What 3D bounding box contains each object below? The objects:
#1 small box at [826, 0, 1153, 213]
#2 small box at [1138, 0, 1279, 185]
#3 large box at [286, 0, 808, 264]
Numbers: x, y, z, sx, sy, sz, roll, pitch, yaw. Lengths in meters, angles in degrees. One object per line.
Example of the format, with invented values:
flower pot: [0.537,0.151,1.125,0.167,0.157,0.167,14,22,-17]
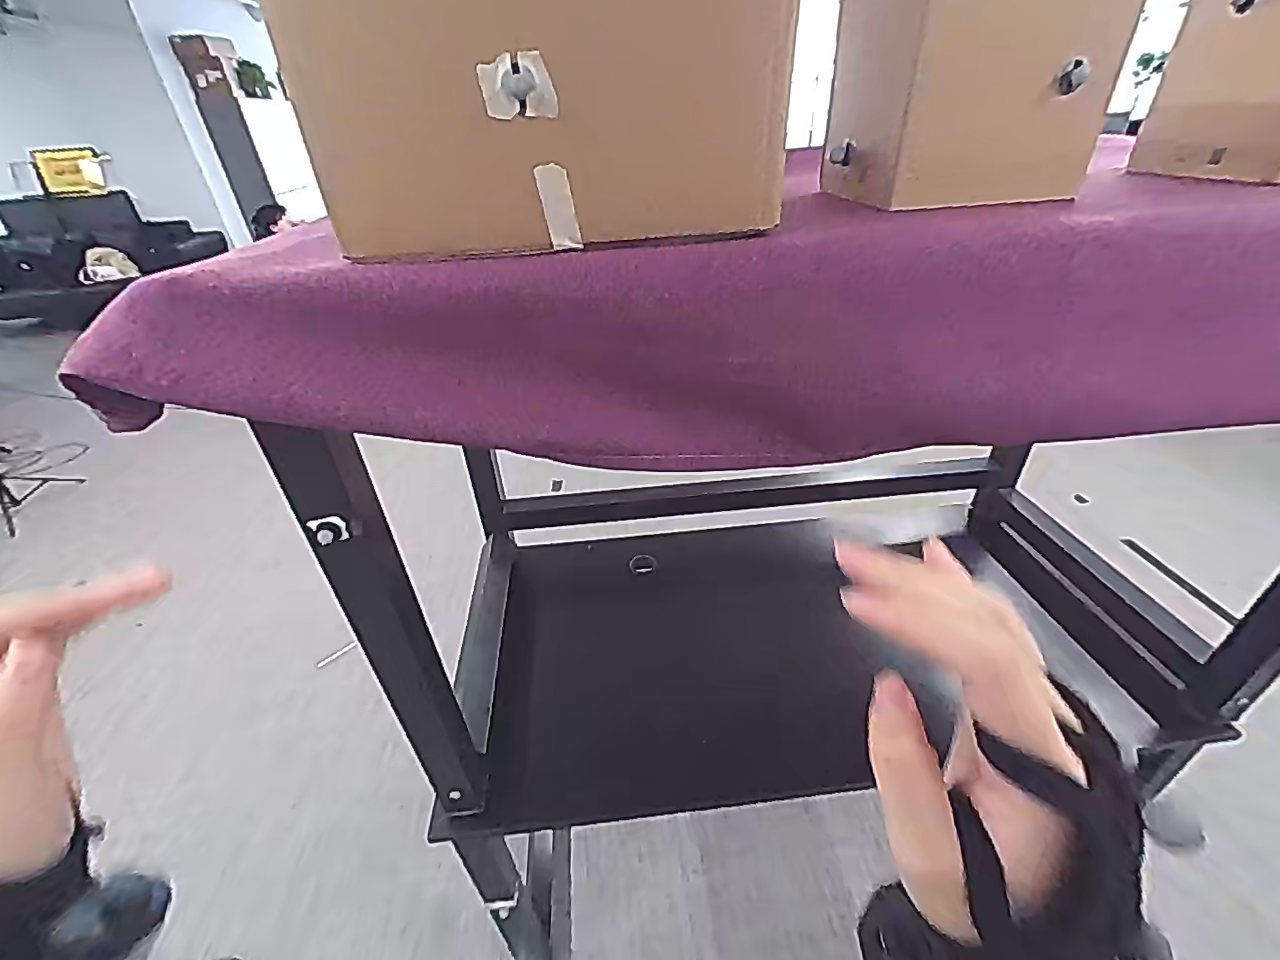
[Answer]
small box: [0.291,-0.350,0.493,0.179,0.176,0.168,-5,33,-3]
small box: [0.645,-0.383,0.509,0.179,0.176,0.168,-4,33,-2]
large box: [-0.077,-0.391,0.461,0.320,0.320,0.408,-6,33,-6]
